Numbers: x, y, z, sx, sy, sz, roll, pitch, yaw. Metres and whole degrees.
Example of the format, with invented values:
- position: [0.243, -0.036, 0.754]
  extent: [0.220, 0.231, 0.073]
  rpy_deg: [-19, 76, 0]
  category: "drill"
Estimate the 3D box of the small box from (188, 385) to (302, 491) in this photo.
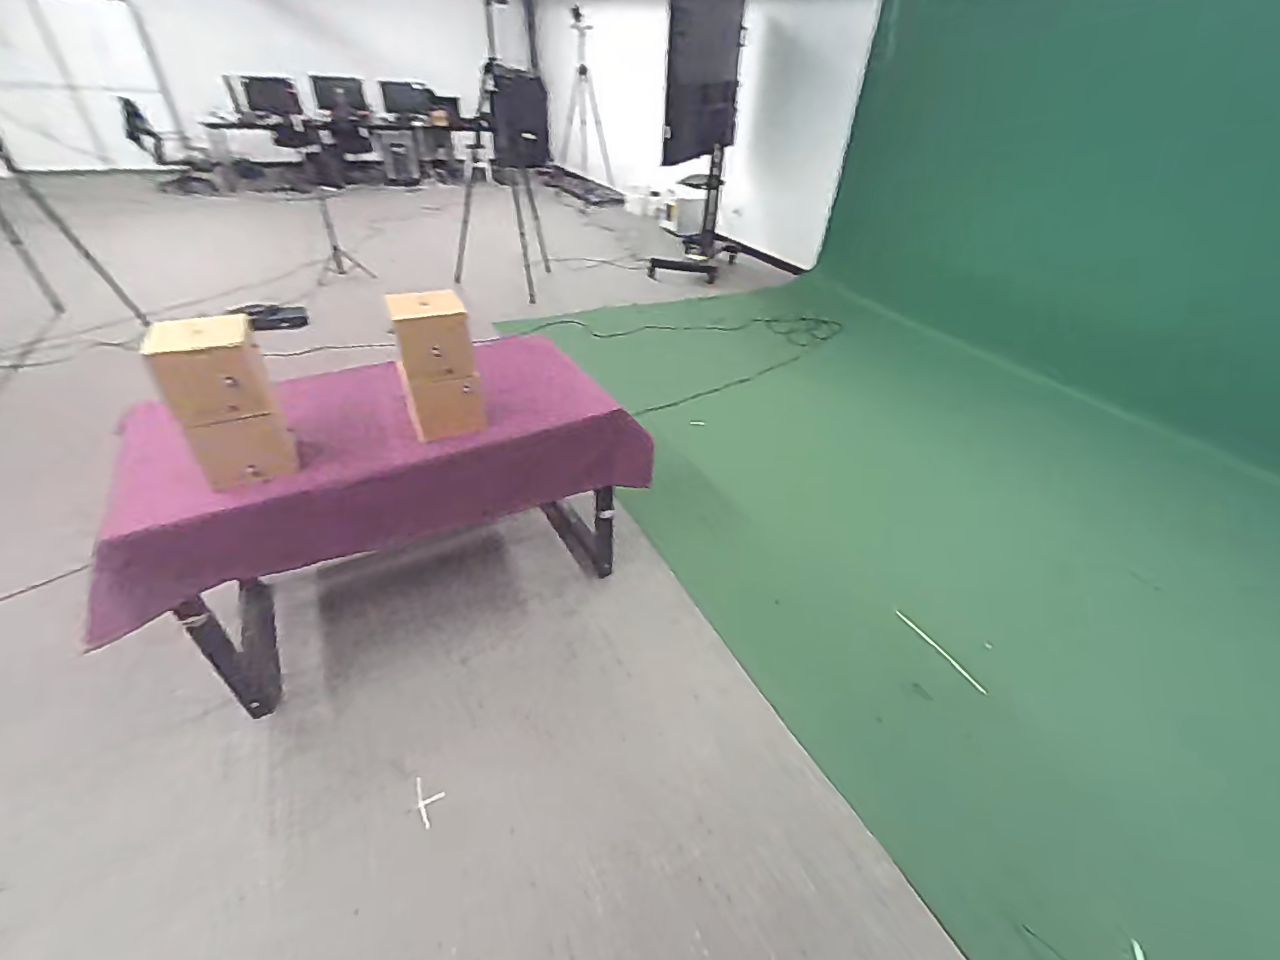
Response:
- position: [-0.912, -0.100, 1.266]
  extent: [0.179, 0.176, 0.168]
  rpy_deg: [-16, 41, -24]
  category: "small box"

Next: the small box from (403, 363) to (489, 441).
- position: [-0.519, -0.222, 1.456]
  extent: [0.179, 0.176, 0.168]
  rpy_deg: [-15, 41, -23]
  category: "small box"

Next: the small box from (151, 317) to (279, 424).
- position: [-0.906, -0.233, 1.171]
  extent: [0.168, 0.176, 0.179]
  rpy_deg: [-15, 40, -23]
  category: "small box"

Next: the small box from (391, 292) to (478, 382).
- position: [-0.515, -0.356, 1.361]
  extent: [0.168, 0.176, 0.179]
  rpy_deg: [-14, 40, -22]
  category: "small box"
